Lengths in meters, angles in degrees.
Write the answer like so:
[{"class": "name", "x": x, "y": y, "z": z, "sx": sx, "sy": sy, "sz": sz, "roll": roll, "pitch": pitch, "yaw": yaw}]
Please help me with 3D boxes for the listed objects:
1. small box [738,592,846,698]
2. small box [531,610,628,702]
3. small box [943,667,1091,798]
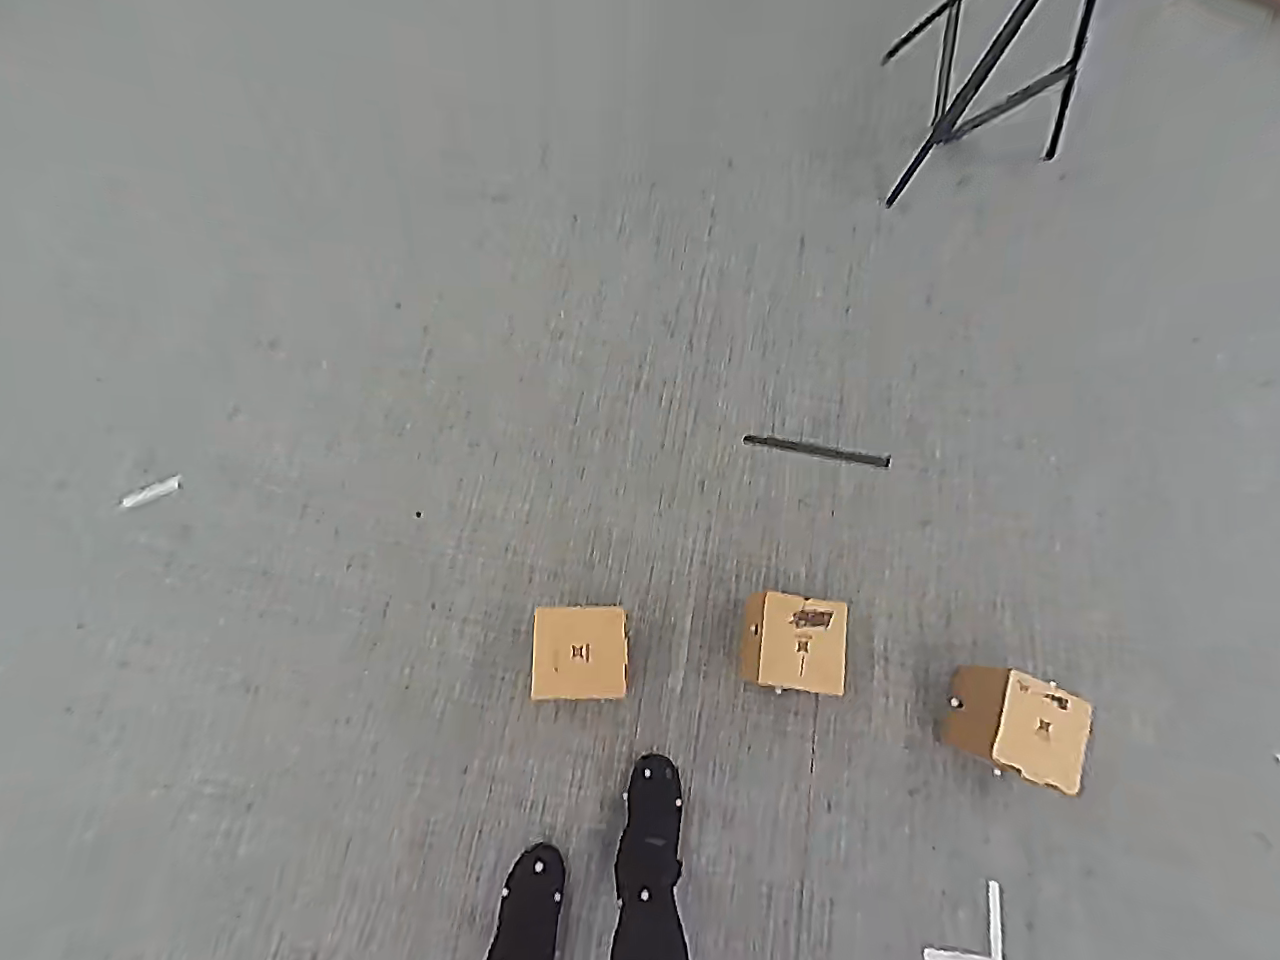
[{"class": "small box", "x": 0.306, "y": 0.337, "z": 1.110, "sx": 0.168, "sy": 0.176, "sz": 0.179, "roll": 9, "pitch": 73, "yaw": -1}, {"class": "small box", "x": -0.116, "y": 0.350, "z": 1.082, "sx": 0.179, "sy": 0.176, "sz": 0.168, "roll": -1, "pitch": 71, "yaw": -3}, {"class": "small box", "x": 0.747, "y": 0.495, "z": 1.090, "sx": 0.168, "sy": 0.176, "sz": 0.179, "roll": 25, "pitch": 73, "yaw": 4}]
